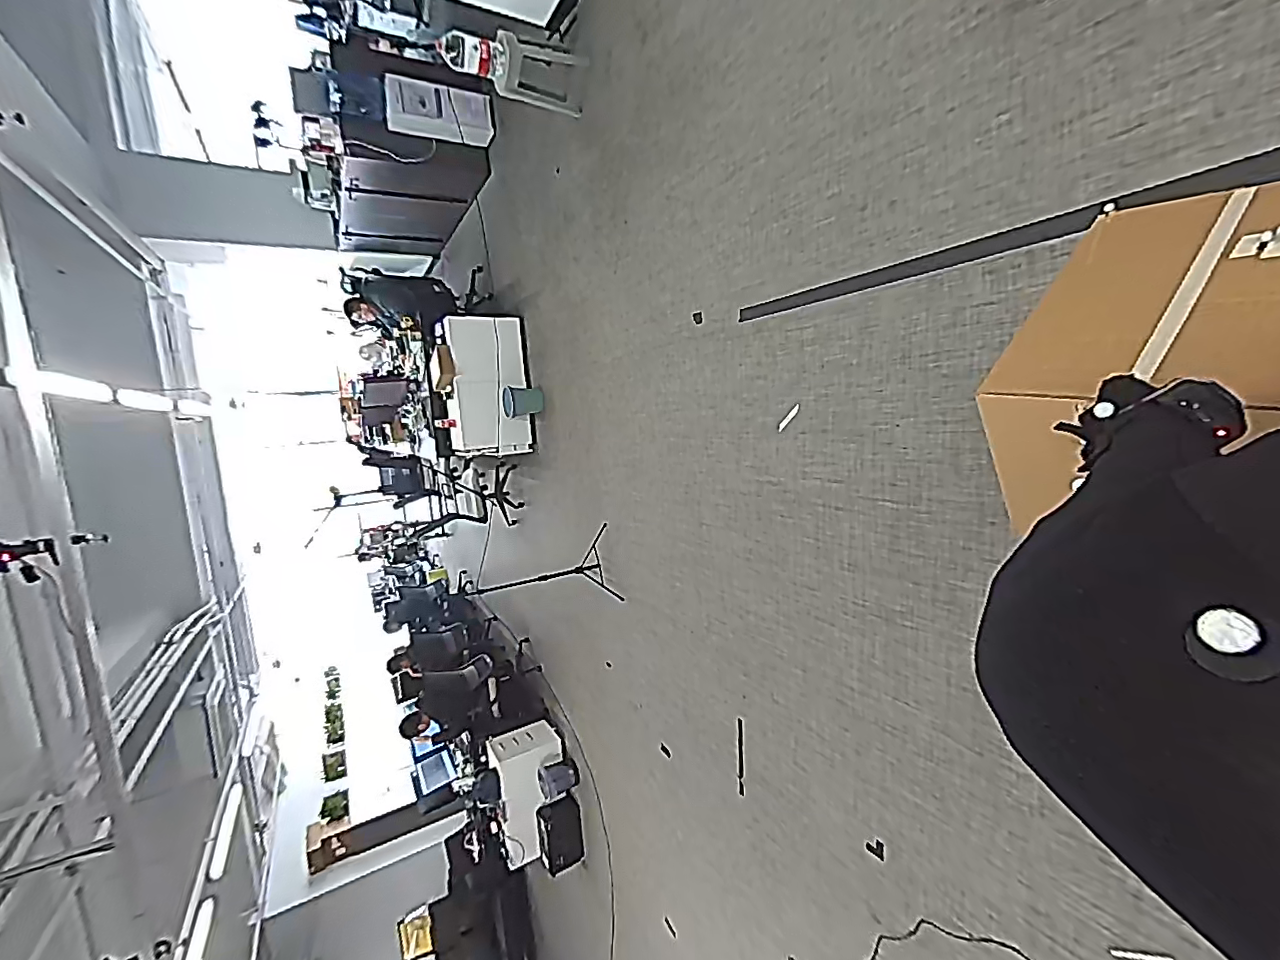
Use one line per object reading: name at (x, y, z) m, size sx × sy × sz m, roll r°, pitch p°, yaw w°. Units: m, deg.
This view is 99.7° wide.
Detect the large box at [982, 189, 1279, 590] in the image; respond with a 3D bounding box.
large box at (0.745, -0.126, 0.732) m, size 0.320 × 0.408 × 0.320 m, roll 20°, pitch 153°, yaw 55°
